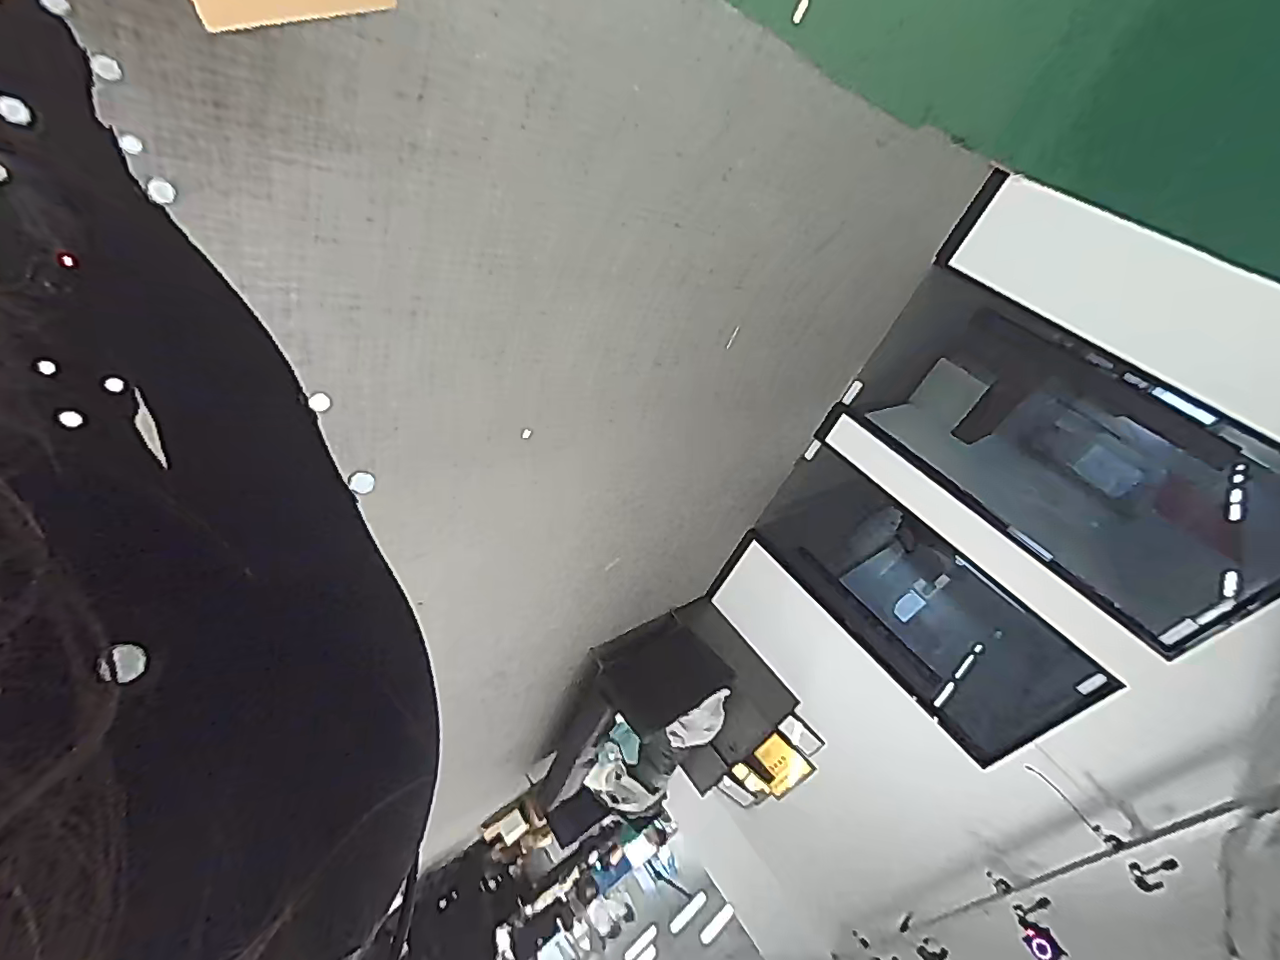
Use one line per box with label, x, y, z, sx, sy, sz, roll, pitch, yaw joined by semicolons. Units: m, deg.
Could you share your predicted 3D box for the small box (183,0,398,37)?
small box;-0.349;-0.520;0.470;0.179;0.176;0.168;-31;151;-22
